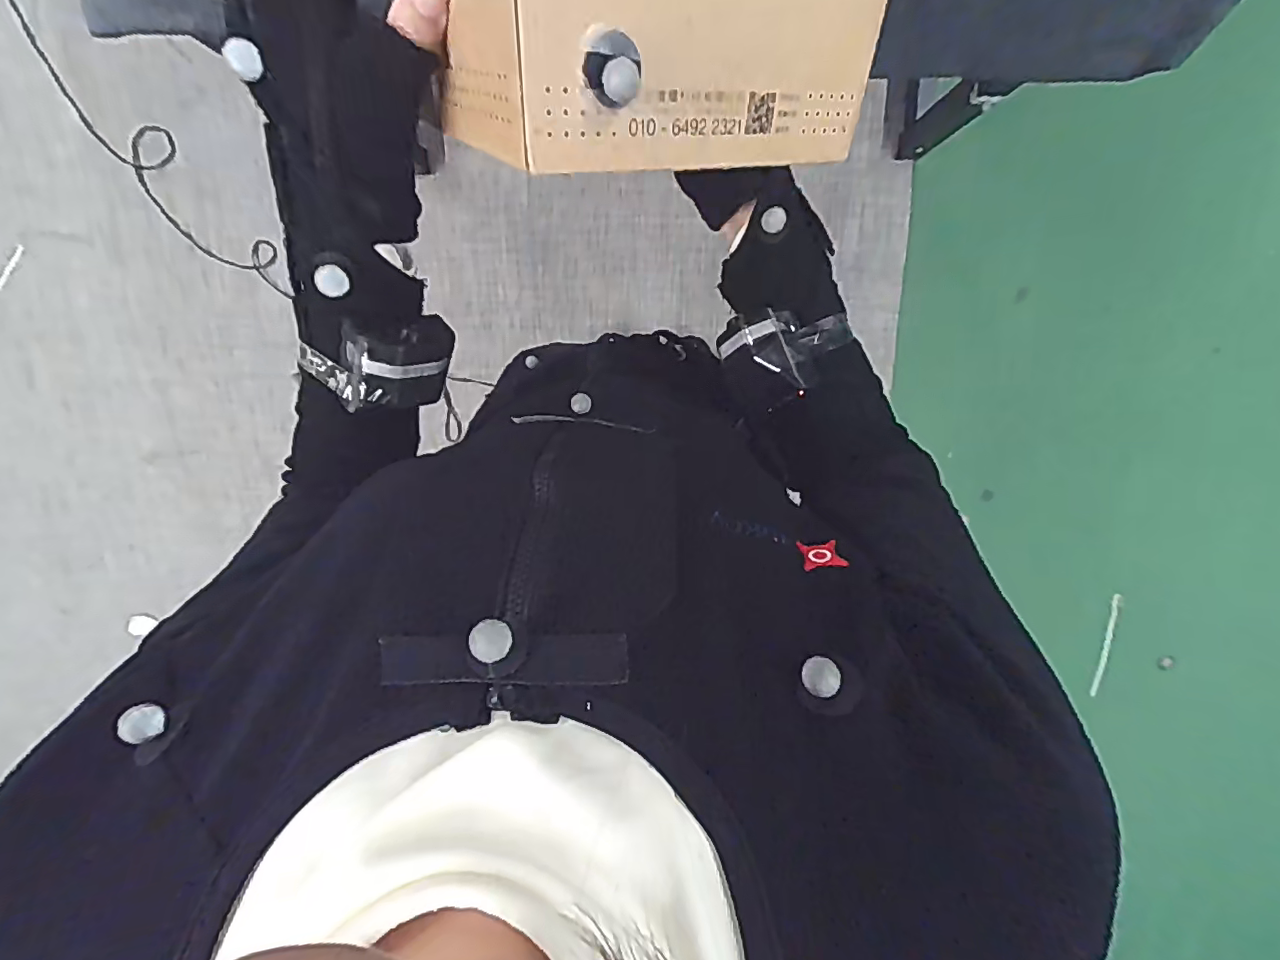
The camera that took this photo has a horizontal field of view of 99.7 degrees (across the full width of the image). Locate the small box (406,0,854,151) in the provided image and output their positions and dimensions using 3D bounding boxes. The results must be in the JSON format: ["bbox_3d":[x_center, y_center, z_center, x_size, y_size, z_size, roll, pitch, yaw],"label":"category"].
[{"bbox_3d":[-0.010,-0.255,0.243,0.168,0.179,0.176,-18,133,-26],"label":"small box"}]
